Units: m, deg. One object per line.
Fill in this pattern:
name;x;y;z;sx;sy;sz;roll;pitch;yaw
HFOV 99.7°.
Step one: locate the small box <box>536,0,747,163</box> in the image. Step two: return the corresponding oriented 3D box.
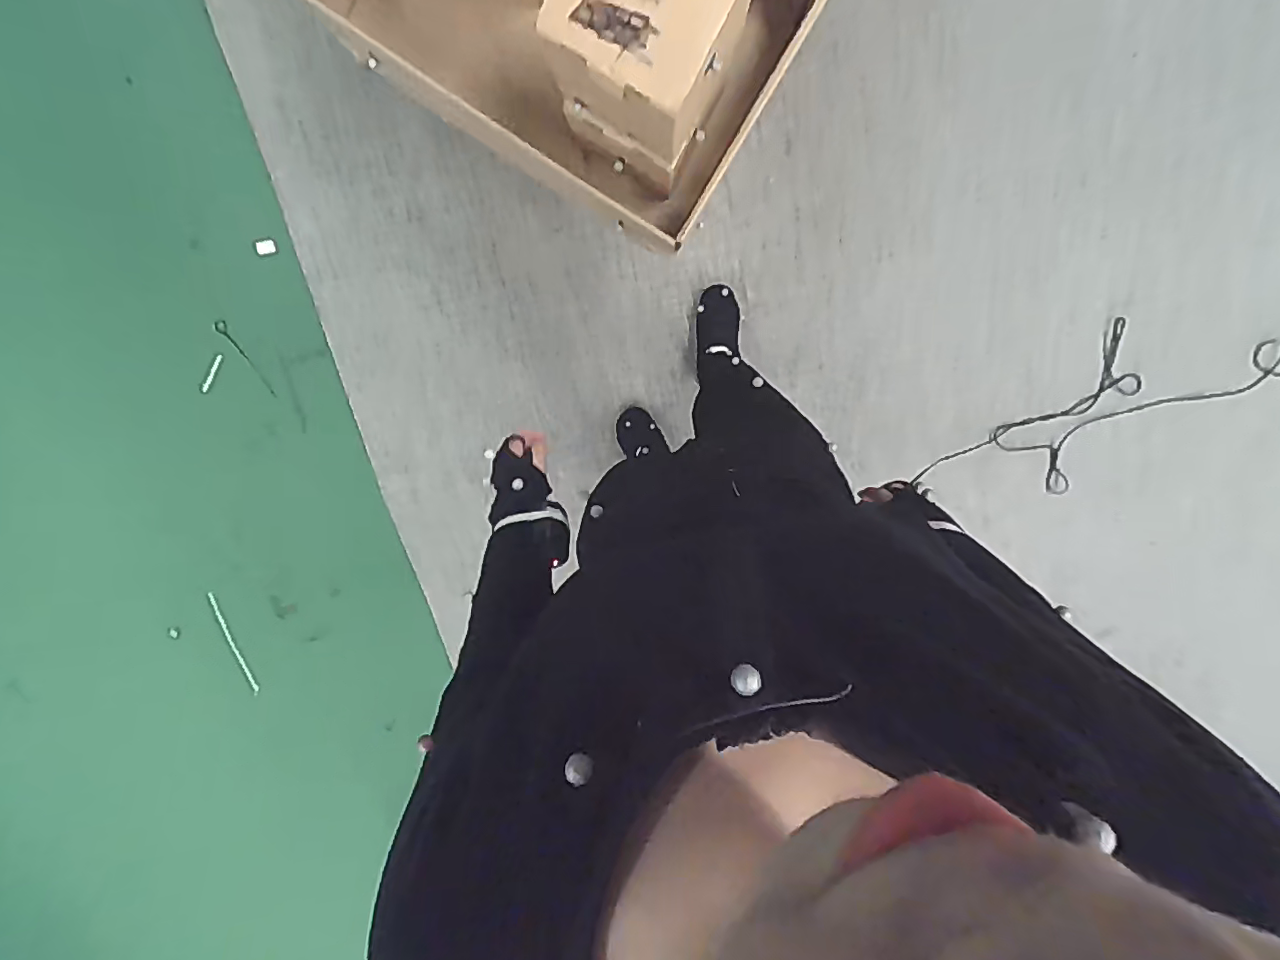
small box;0.010;-0.496;0.604;0.168;0.176;0.179;29;104;-7
